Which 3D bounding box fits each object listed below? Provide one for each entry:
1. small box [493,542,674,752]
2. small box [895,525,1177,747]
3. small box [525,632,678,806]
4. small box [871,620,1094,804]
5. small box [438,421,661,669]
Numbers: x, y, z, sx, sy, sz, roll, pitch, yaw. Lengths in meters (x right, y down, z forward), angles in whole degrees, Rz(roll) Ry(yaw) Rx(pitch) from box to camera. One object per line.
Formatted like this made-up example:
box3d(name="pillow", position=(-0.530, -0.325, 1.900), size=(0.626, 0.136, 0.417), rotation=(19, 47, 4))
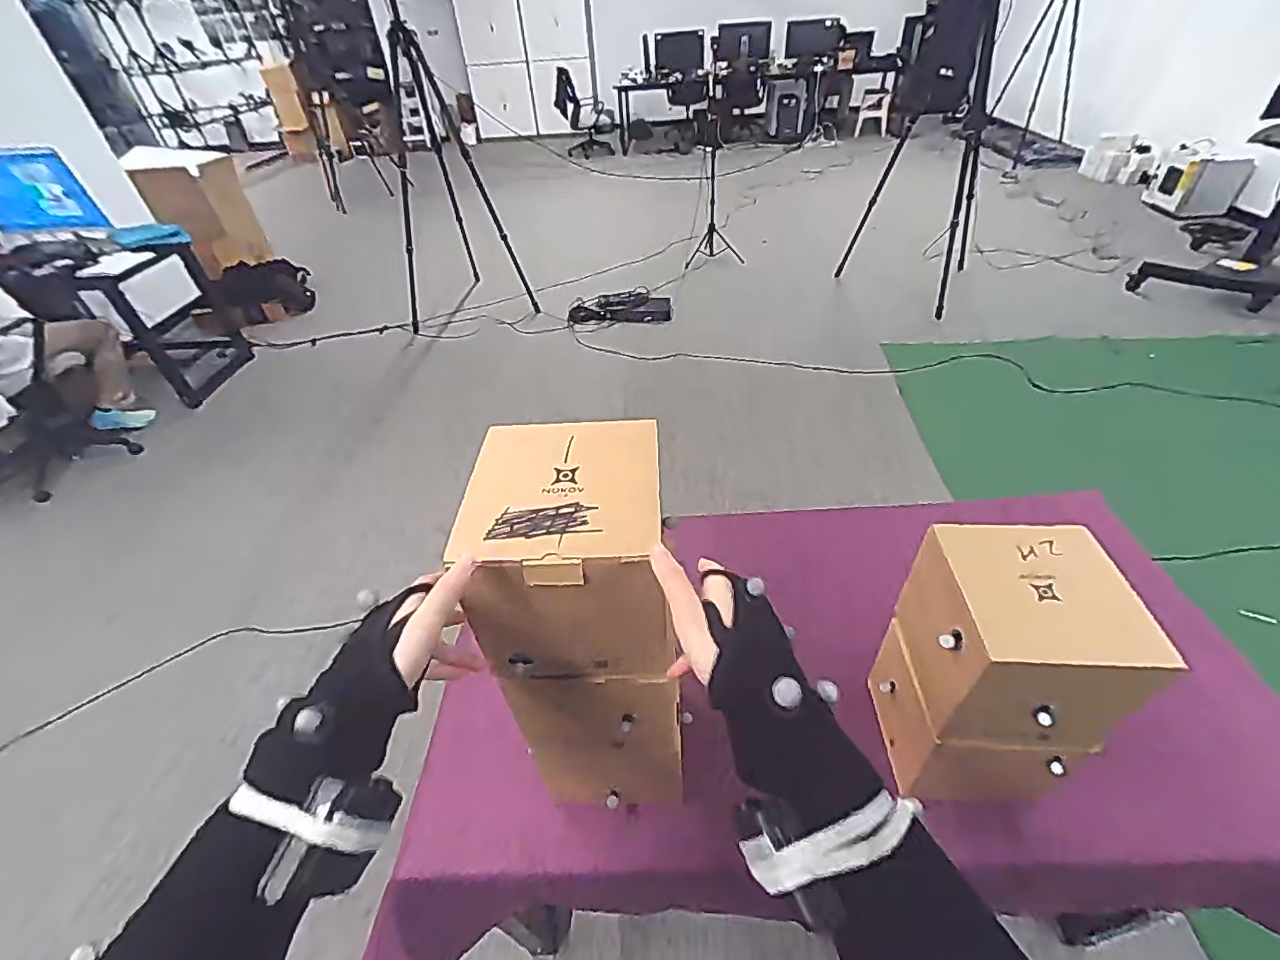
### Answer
box3d(name="small box", position=(-0.048, 0.190, 0.618), size=(0.168, 0.176, 0.179), rotation=(0, 41, 5))
box3d(name="small box", position=(0.402, 0.170, 0.593), size=(0.168, 0.176, 0.179), rotation=(1, 41, 6))
box3d(name="small box", position=(-0.038, 0.316, 0.722), size=(0.179, 0.176, 0.168), rotation=(-1, 41, 4))
box3d(name="small box", position=(0.413, 0.298, 0.697), size=(0.179, 0.176, 0.168), rotation=(-1, 41, 5))
box3d(name="small box", position=(-0.065, 0.064, 0.514), size=(0.168, 0.176, 0.179), rotation=(-2, 41, 2))
